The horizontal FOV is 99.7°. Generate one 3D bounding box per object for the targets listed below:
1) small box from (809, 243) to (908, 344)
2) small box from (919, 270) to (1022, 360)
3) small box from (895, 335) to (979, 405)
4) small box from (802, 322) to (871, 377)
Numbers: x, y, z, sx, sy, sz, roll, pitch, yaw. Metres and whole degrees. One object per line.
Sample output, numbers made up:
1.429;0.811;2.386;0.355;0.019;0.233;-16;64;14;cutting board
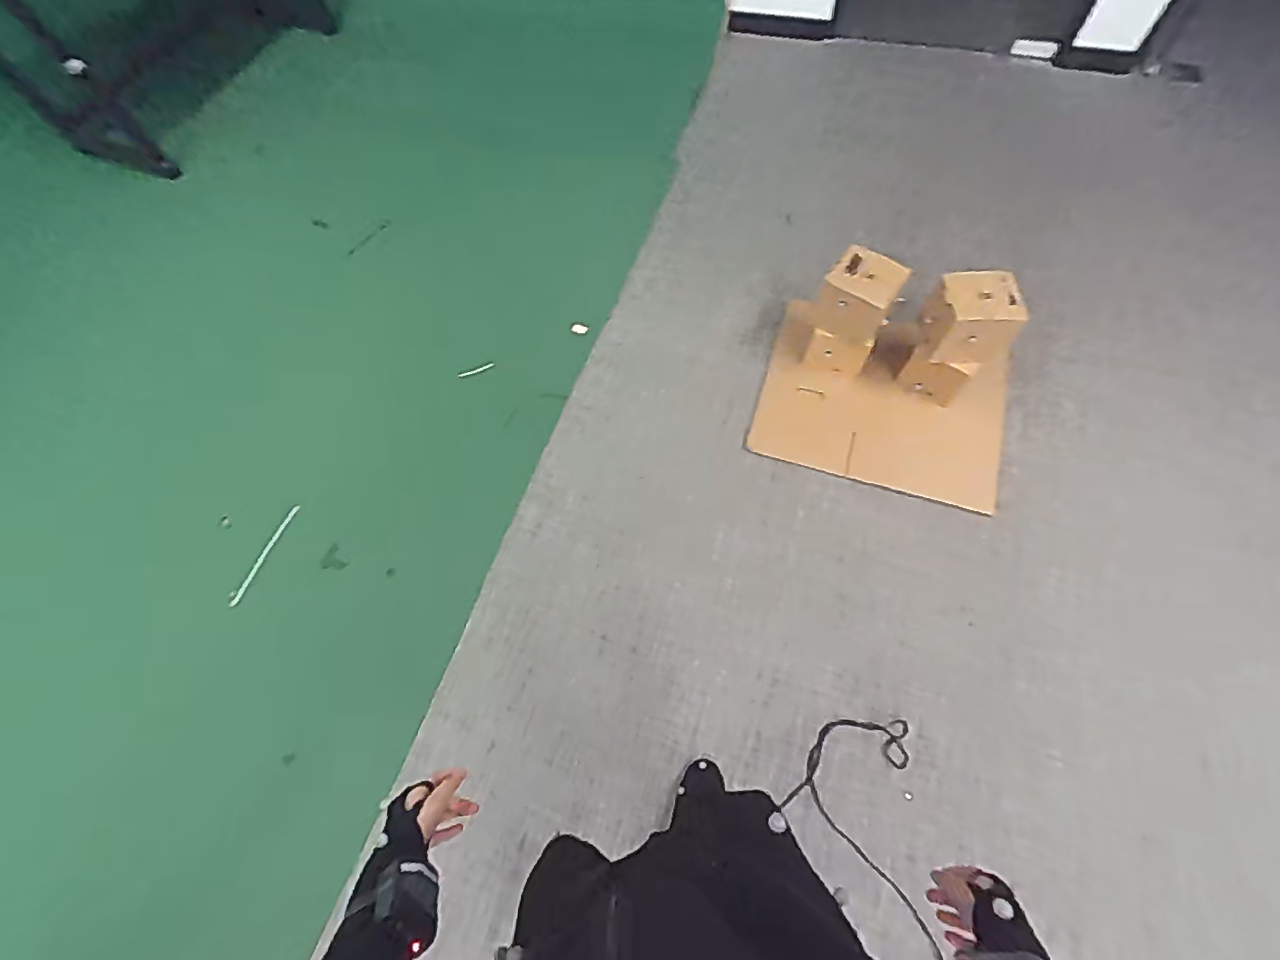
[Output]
0.596;-0.510;1.499;0.179;0.176;0.168;35;71;16;small box
0.869;-0.436;1.446;0.179;0.176;0.168;0;65;4;small box
0.884;-0.357;1.589;0.168;0.176;0.179;35;72;18;small box
0.606;-0.444;1.649;0.168;0.176;0.179;18;67;11;small box
